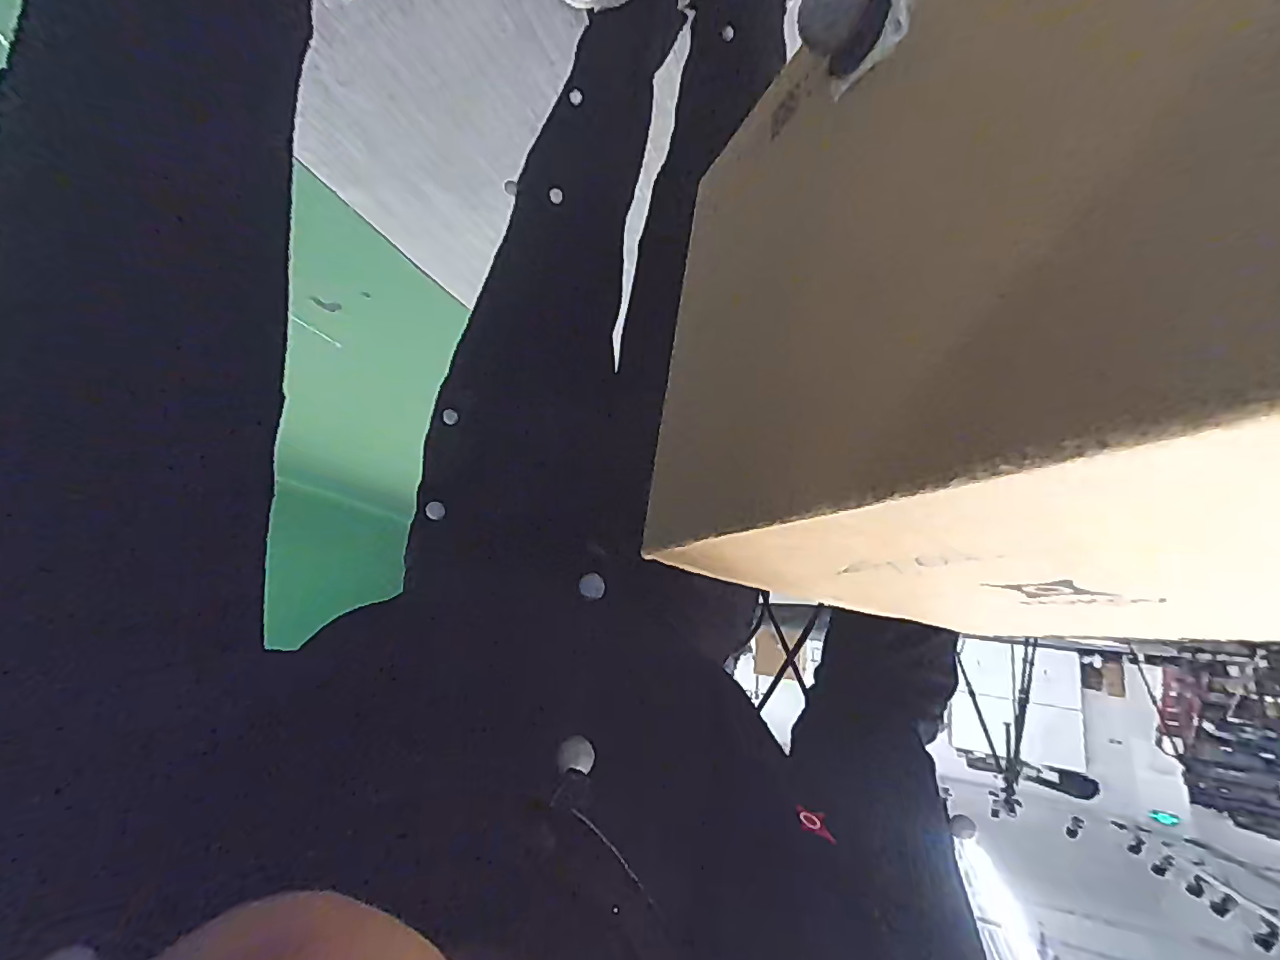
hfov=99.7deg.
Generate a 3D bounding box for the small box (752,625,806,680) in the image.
[{"bbox_3d":[0.526,0.646,2.028,0.168,0.176,0.179,1,162,24],"label":"small box"}]

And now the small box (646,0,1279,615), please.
[{"bbox_3d":[0.124,-0.055,0.176,0.179,0.176,0.168,17,160,-20],"label":"small box"}]
